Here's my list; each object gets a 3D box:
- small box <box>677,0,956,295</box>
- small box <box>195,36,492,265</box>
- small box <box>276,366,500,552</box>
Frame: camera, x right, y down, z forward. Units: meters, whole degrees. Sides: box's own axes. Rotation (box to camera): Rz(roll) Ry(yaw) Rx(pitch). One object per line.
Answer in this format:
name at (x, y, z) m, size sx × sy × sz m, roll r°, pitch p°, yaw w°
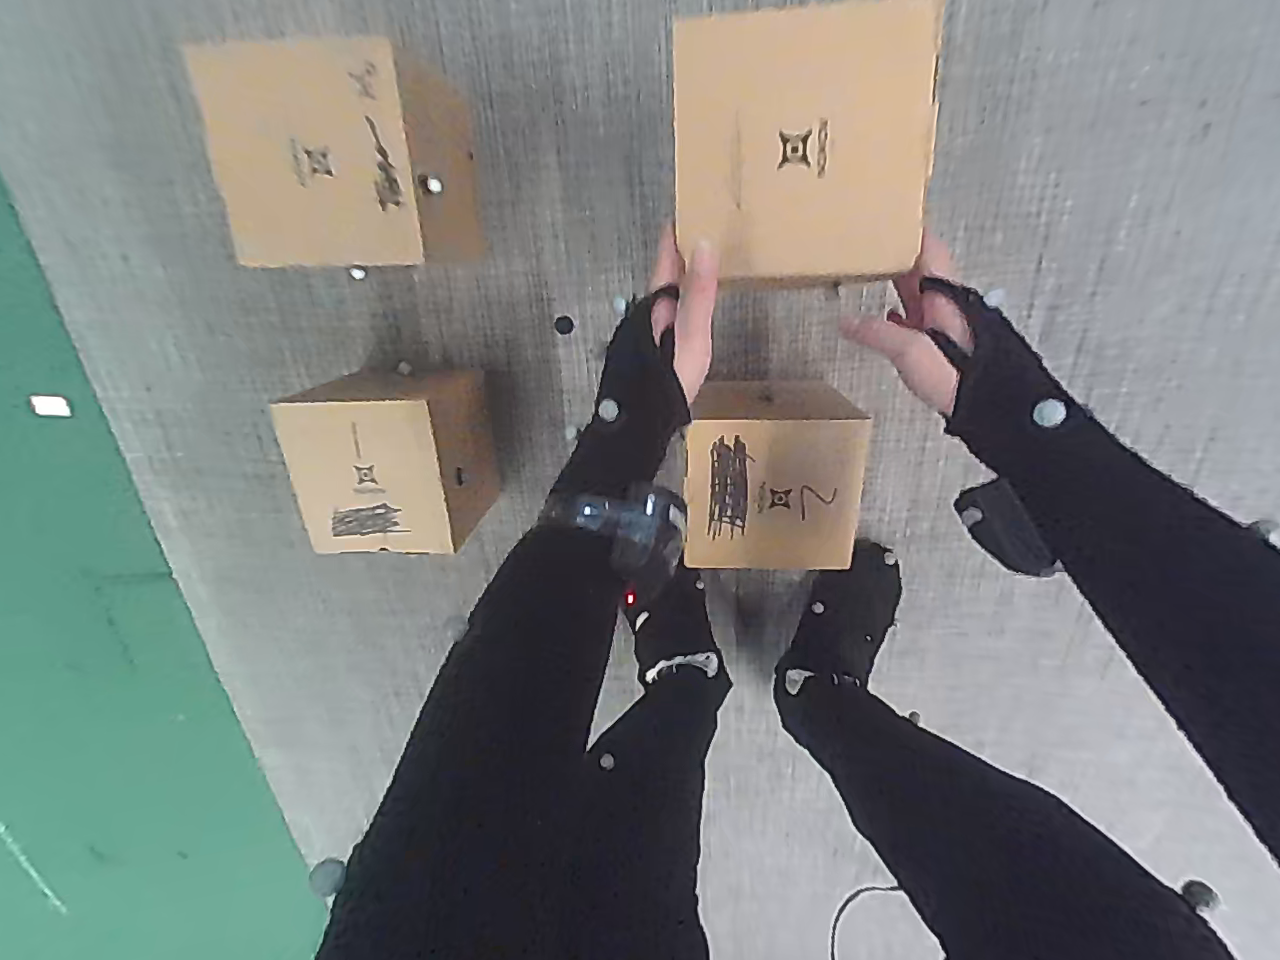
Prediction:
small box at (0.120, -0.244, 0.441) m, size 0.179 × 0.176 × 0.168 m, roll 0°, pitch 105°, yaw 7°
small box at (-0.264, -0.300, 0.528) m, size 0.179 × 0.176 × 0.168 m, roll 2°, pitch 113°, yaw 5°
small box at (-0.275, -0.032, 0.639) m, size 0.168 × 0.176 × 0.179 m, roll 0°, pitch 112°, yaw 4°
